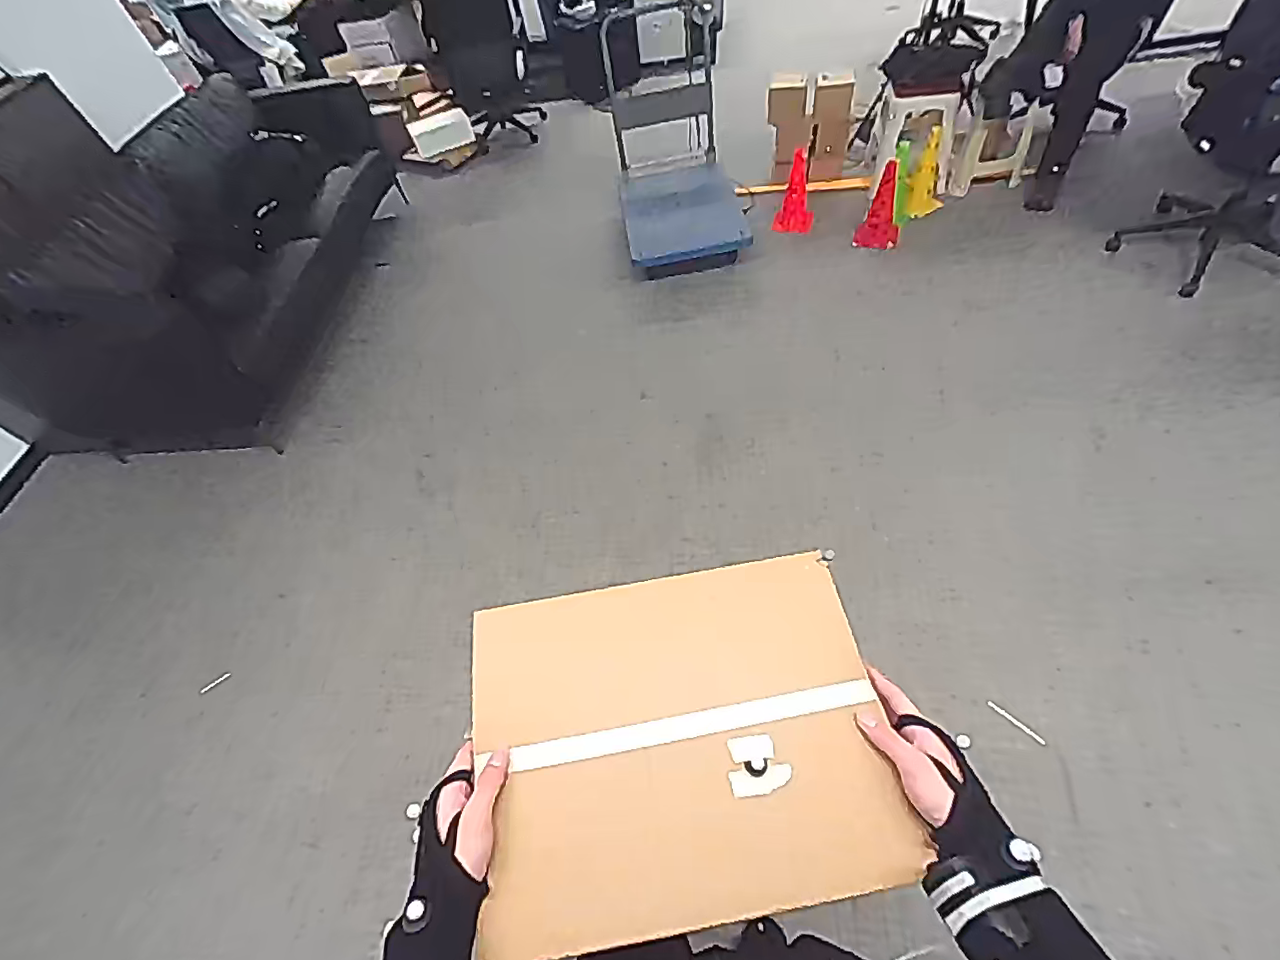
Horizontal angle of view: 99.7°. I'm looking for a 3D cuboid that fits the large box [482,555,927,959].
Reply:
[{"bbox_3d":[0.045,0.328,0.677,0.408,0.320,0.320,-9,59,-3],"label":"large box"}]
